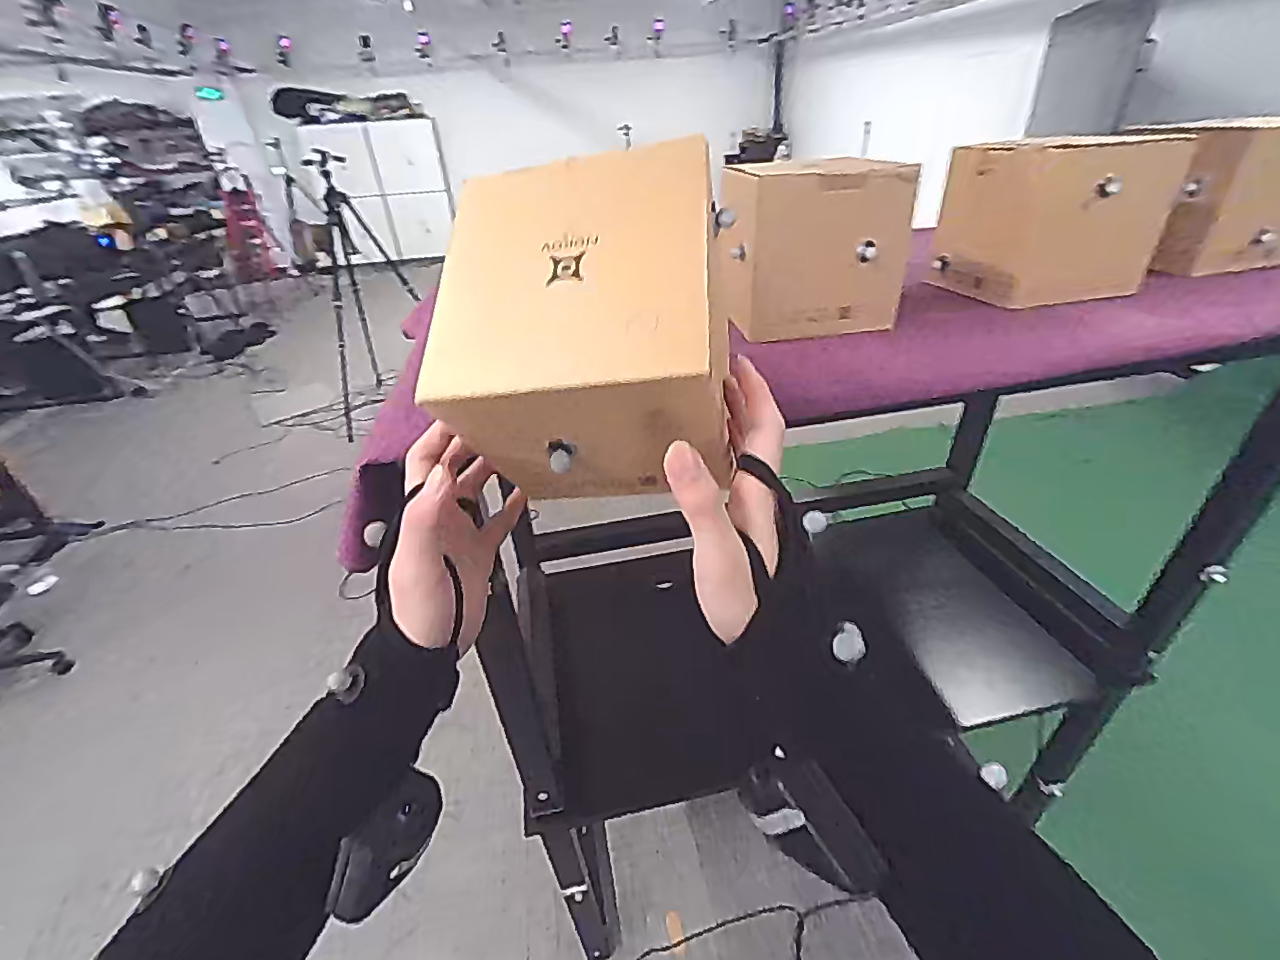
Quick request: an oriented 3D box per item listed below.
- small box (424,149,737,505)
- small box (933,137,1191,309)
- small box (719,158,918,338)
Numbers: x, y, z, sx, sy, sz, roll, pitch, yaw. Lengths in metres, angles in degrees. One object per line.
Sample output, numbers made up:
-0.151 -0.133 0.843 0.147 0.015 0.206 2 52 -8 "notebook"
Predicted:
-0.021 -0.087 0.387 0.168 0.176 0.179 -4 66 13 "small box"
0.496 -0.320 0.673 0.179 0.176 0.168 -9 33 -8 "small box"
0.190 -0.270 0.635 0.168 0.176 0.179 -5 33 -3 "small box"
